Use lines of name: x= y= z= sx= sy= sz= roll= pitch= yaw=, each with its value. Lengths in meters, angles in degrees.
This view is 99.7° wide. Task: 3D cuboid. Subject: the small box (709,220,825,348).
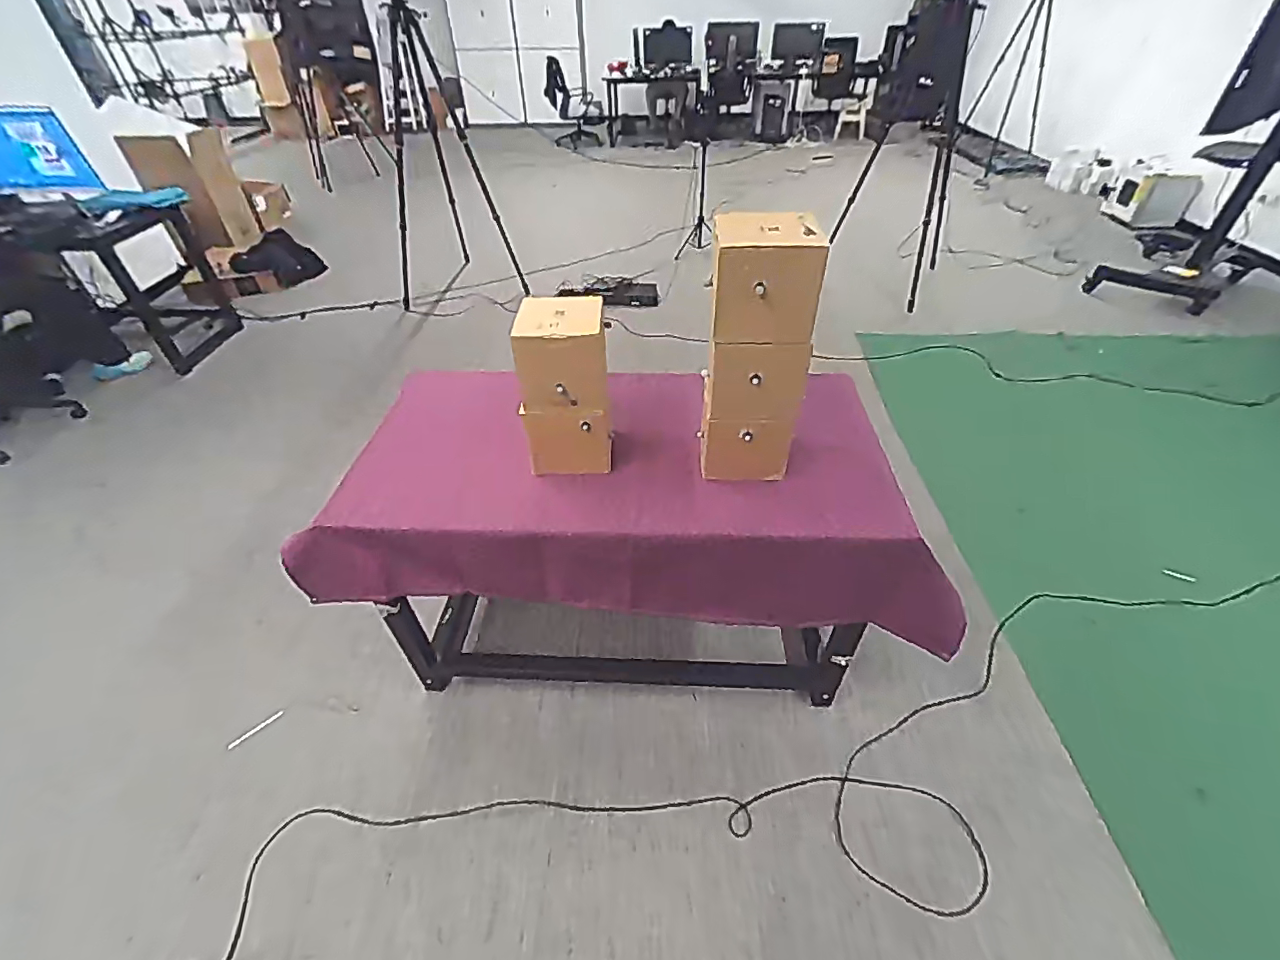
small box: x=0.213 y=-0.345 z=0.958 sx=0.179 sy=0.176 sz=0.168 roll=0 pitch=43 yaw=4

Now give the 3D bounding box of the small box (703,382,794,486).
small box: x=0.226 y=-0.100 z=1.177 sx=0.179 sy=0.176 sz=0.168 roll=1 pitch=42 yaw=3

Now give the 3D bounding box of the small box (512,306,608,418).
small box: x=-0.156 y=-0.242 z=1.109 sx=0.168 sy=0.176 sz=0.179 roll=-2 pitch=41 yaw=0

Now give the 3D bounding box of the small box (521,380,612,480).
small box: x=-0.156 y=-0.111 z=1.209 sx=0.179 sy=0.176 sz=0.168 roll=-1 pitch=41 yaw=0

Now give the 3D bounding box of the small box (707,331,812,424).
small box: x=0.225 y=-0.222 z=1.067 sx=0.179 sy=0.176 sz=0.168 roll=0 pitch=42 yaw=4
